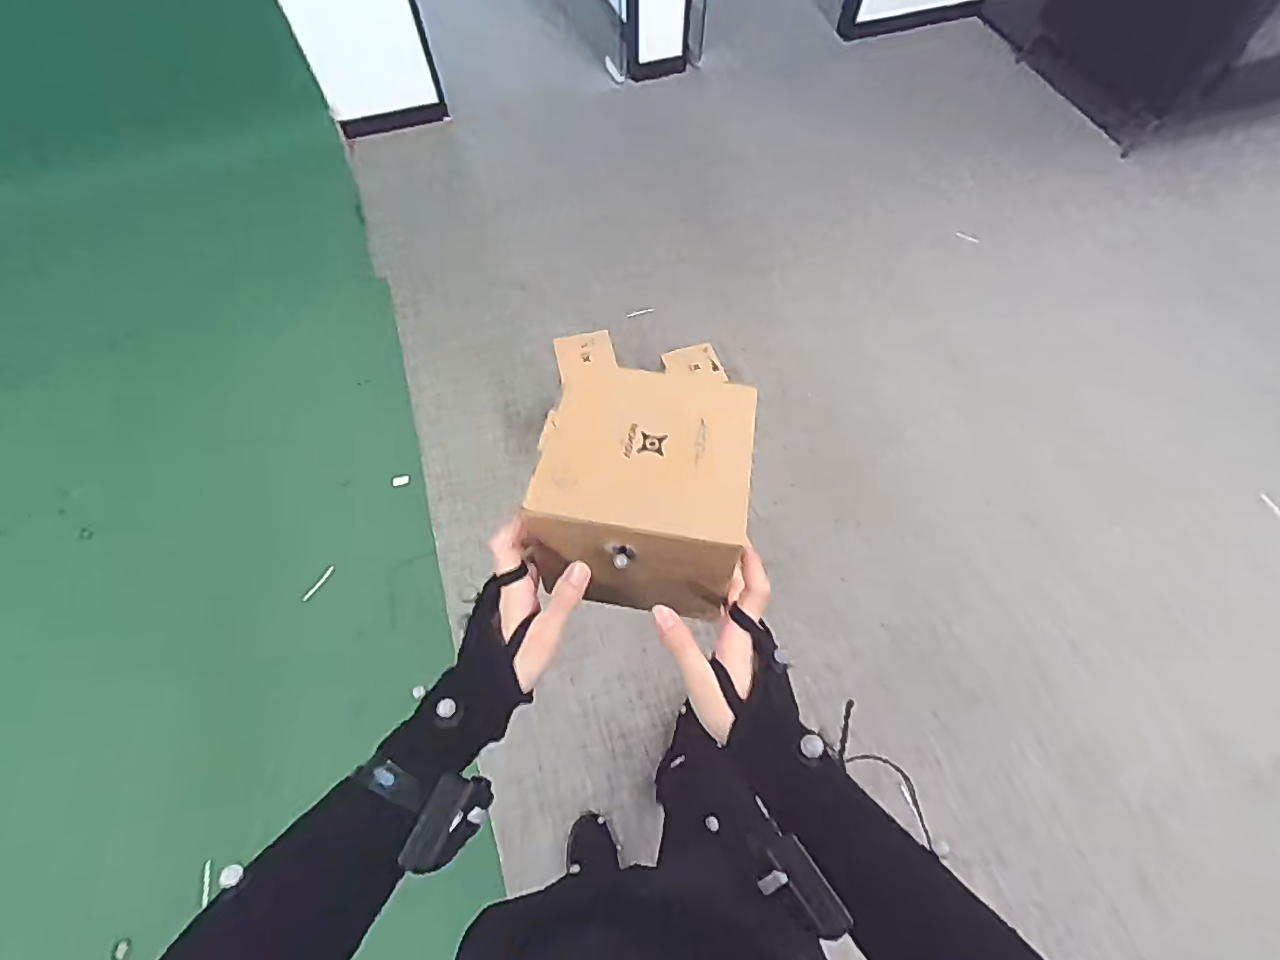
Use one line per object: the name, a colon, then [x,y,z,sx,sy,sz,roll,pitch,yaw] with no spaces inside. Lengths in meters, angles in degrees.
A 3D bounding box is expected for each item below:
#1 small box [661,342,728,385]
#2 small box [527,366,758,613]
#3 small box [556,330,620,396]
small box: [0.178,-0.326,1.802,0.179,0.176,0.168,-17,65,-7]
small box: [0.009,0.014,0.530,0.179,0.176,0.168,10,55,6]
small box: [-0.148,-0.314,1.615,0.168,0.176,0.179,-12,63,-6]
